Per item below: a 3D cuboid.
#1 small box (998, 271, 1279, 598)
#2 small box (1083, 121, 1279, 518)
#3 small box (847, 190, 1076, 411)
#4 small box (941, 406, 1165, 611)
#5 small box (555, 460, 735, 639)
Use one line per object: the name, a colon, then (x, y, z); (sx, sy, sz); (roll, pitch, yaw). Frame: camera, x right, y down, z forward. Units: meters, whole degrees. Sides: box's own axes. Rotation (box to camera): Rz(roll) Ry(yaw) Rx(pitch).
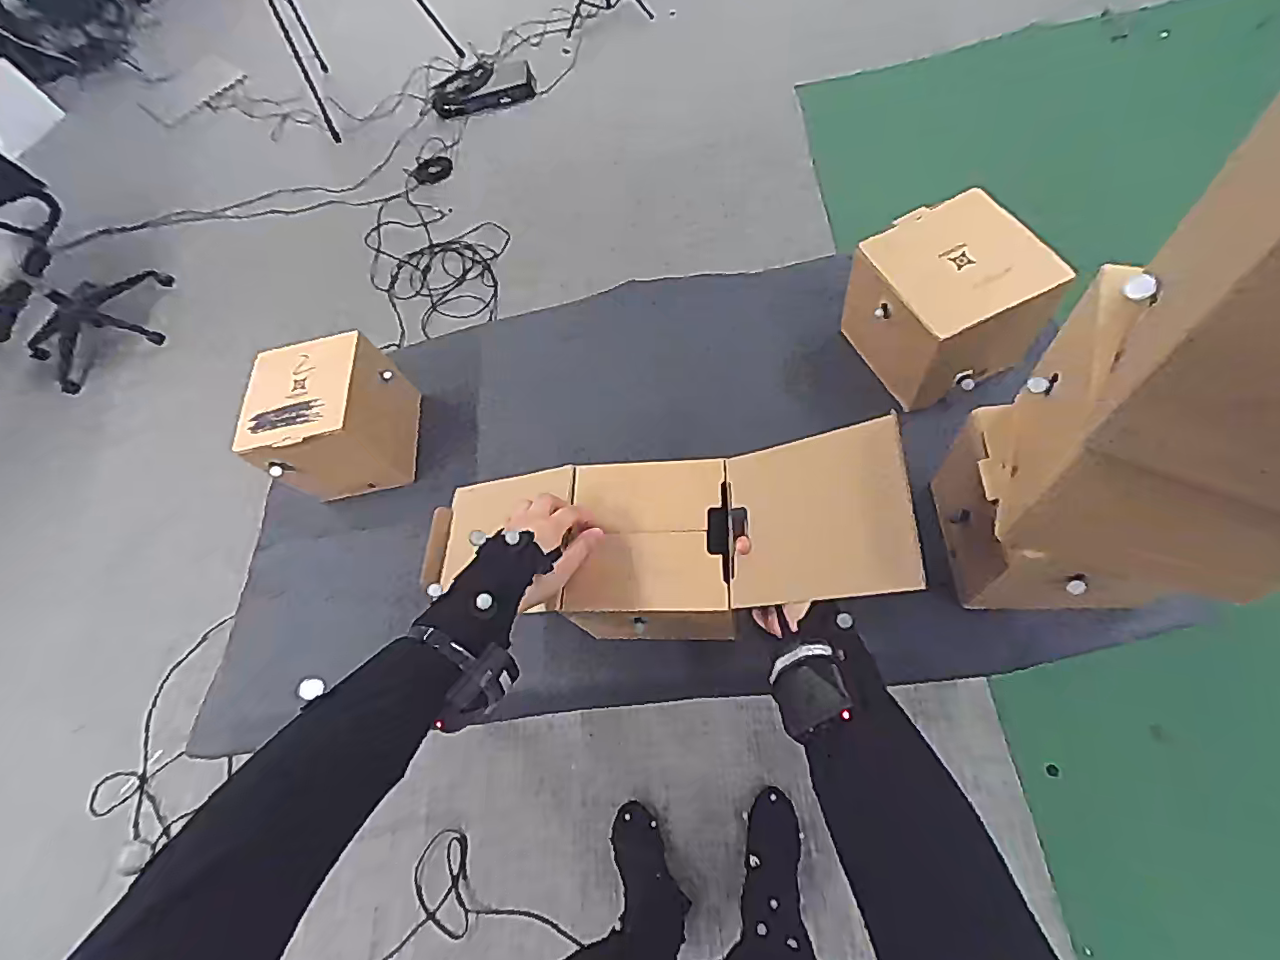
small box: (0.406, -0.028, 0.413); (0.179, 0.176, 0.168); (17, 67, 20)
small box: (0.374, -0.084, 0.260); (0.179, 0.176, 0.168); (26, 70, 24)
small box: (0.389, -0.222, 0.699); (0.168, 0.176, 0.179); (-25, 64, 3)
small box: (0.435, 0.034, 0.562); (0.179, 0.176, 0.168); (-4, 61, 12)
small box: (0.018, 0.089, 0.628); (0.179, 0.176, 0.168); (-2, 66, 10)
